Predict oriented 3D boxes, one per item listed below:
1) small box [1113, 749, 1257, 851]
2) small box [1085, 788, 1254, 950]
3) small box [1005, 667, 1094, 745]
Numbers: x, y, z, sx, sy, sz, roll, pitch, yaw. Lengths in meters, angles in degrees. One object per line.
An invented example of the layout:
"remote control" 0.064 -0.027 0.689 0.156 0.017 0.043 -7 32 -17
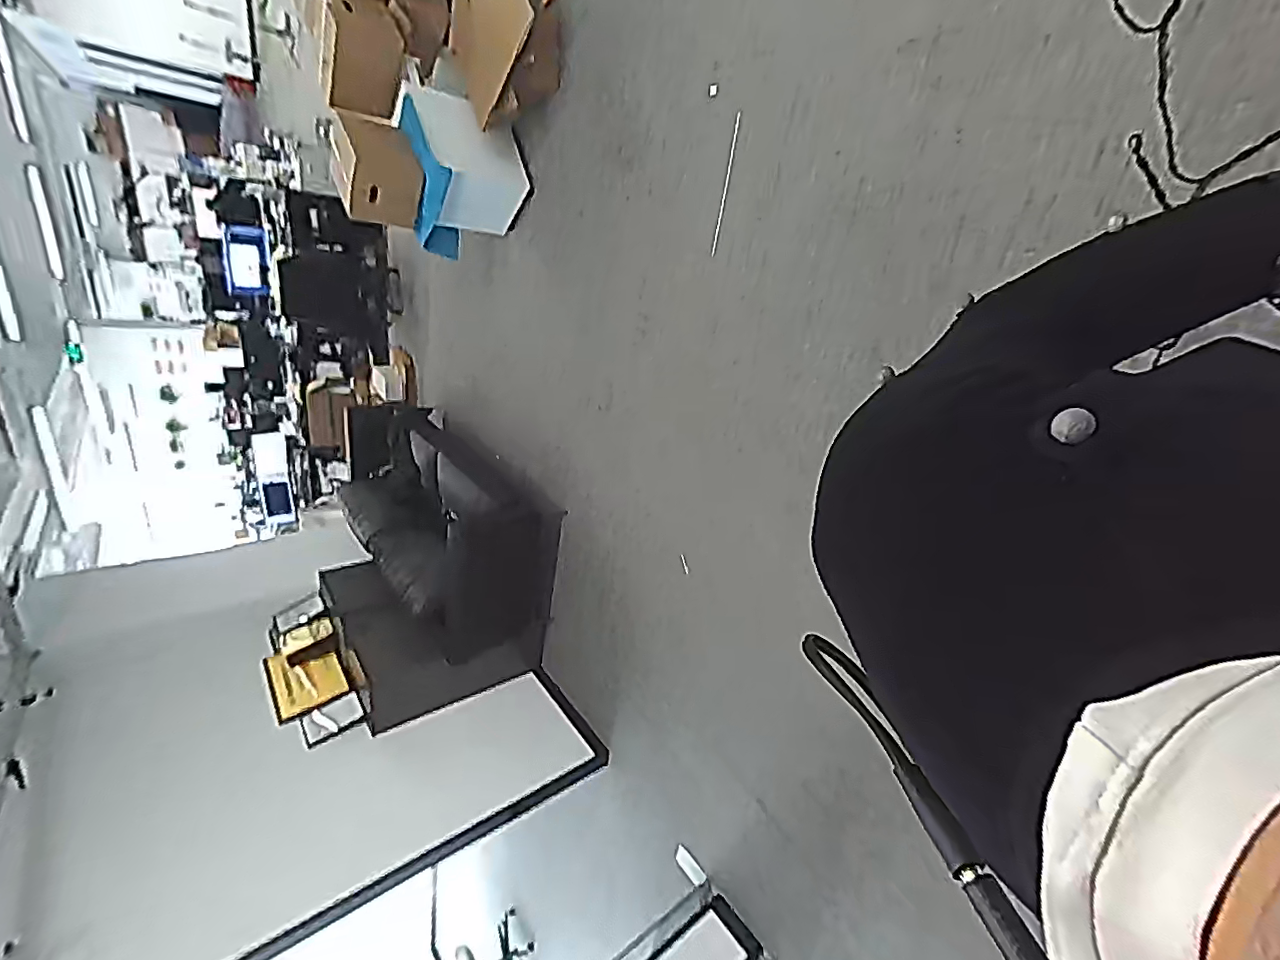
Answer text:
"small box" 1.161 0.724 1.161 0.168 0.176 0.179 36 125 41
"small box" 1.034 0.742 1.059 0.179 0.176 0.168 35 124 43
"small box" 0.988 0.602 1.347 0.168 0.176 0.179 37 125 40
